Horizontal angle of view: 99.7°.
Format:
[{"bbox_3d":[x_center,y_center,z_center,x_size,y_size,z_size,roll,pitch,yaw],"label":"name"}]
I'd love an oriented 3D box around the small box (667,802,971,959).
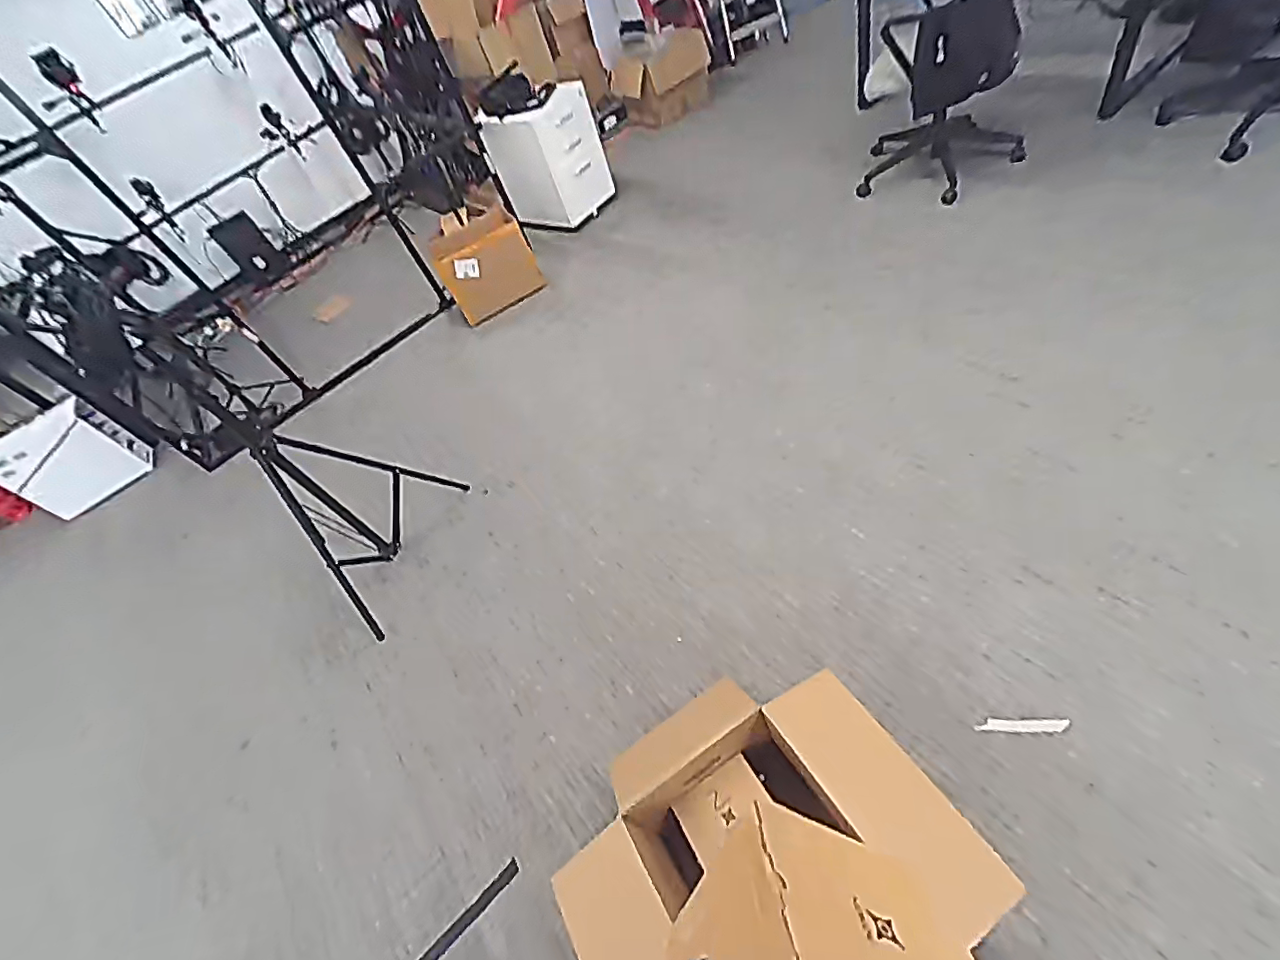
[{"bbox_3d":[0.137,0.396,0.401,0.179,0.168,0.176,26,98,-4],"label":"small box"}]
